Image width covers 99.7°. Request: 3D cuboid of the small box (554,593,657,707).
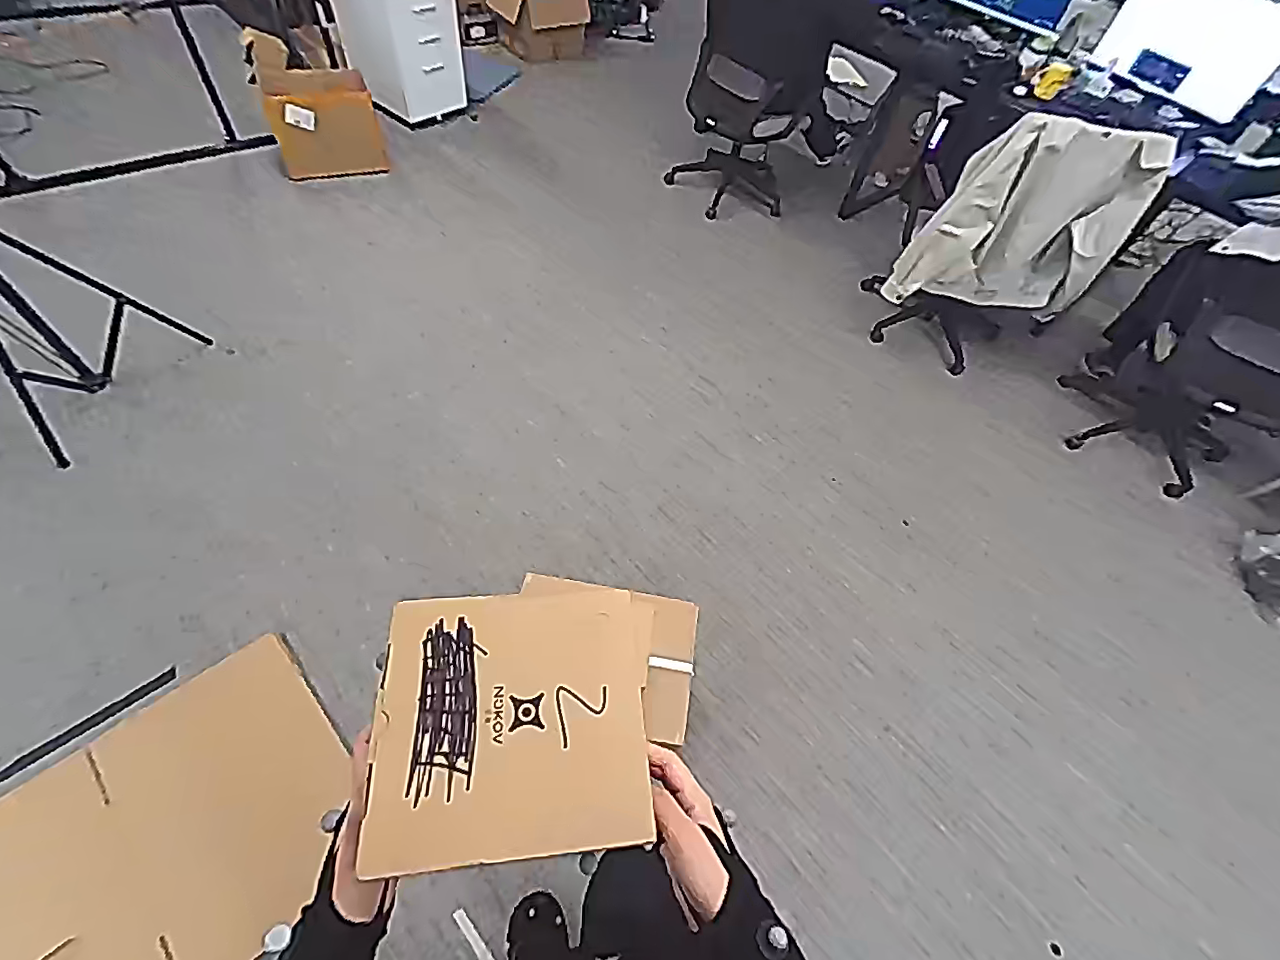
[{"bbox_3d":[-0.069,0.343,1.079,0.179,0.176,0.168,9,55,-3],"label":"small box"}]
